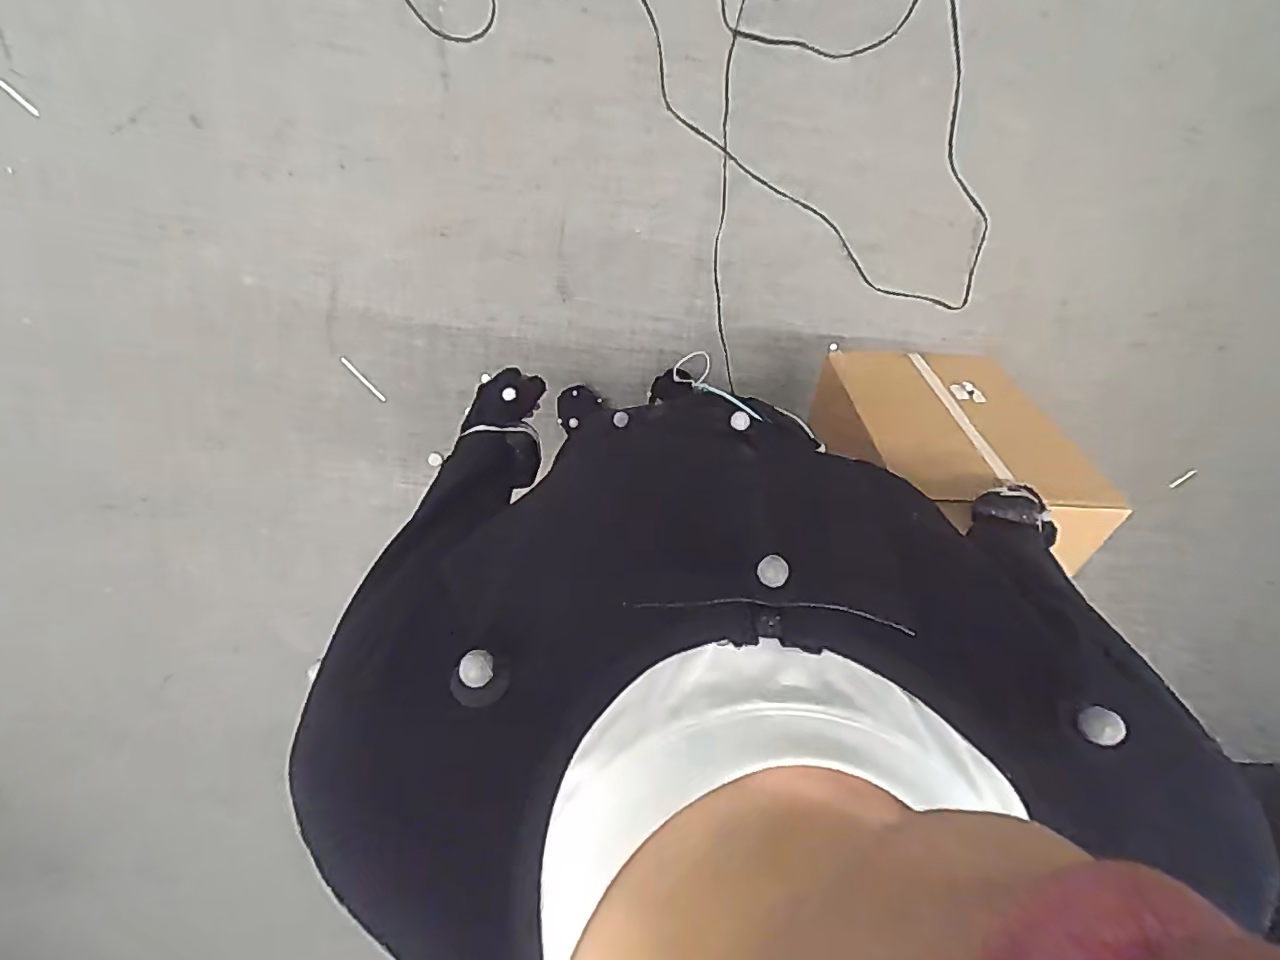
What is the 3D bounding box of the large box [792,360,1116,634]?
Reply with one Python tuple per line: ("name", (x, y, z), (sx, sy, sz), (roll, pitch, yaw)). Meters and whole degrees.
("large box", (0.494, 0.023, 0.975), (0.320, 0.408, 0.320), (3, 131, -2))
